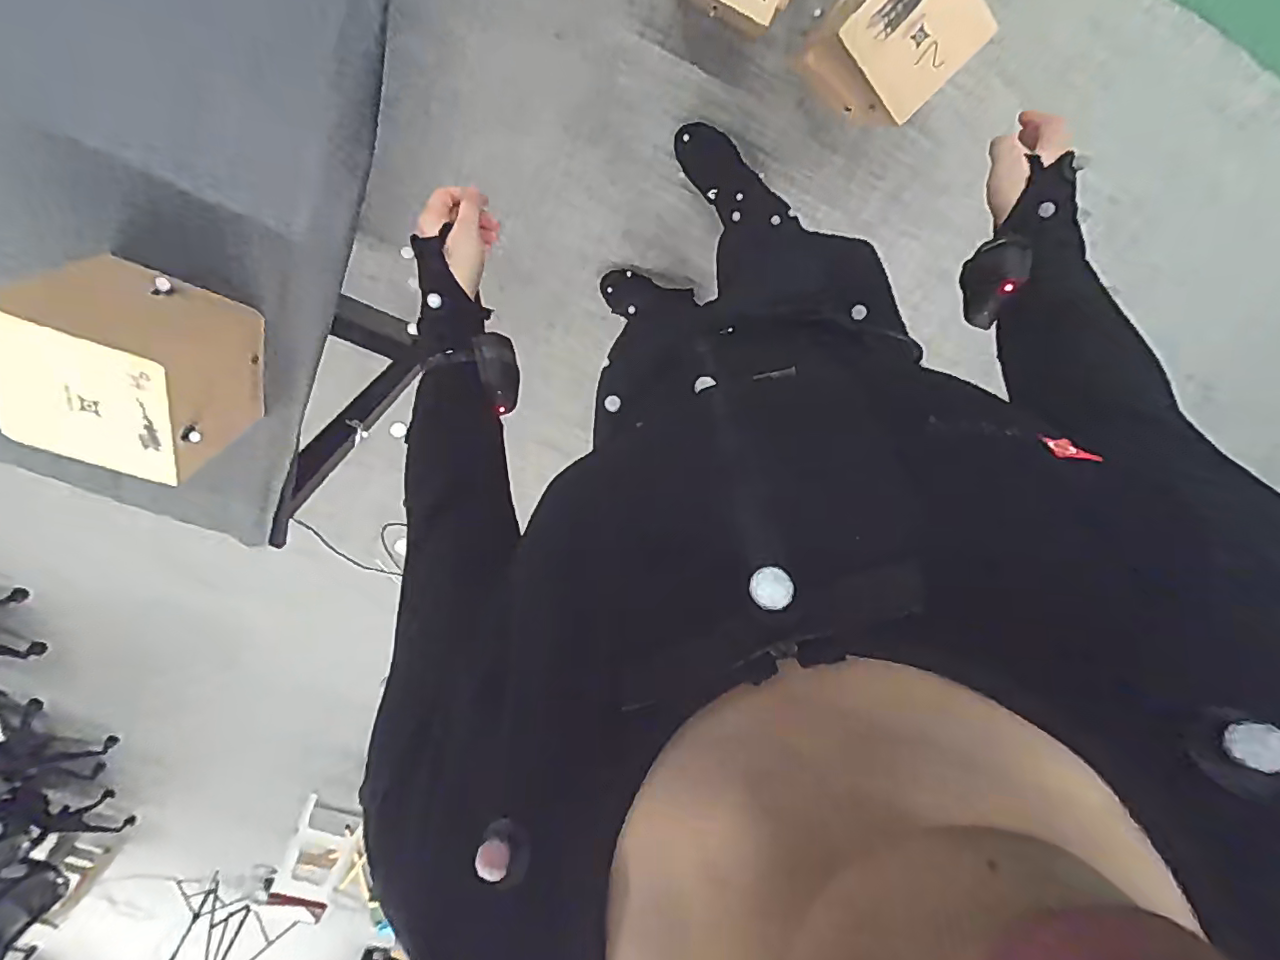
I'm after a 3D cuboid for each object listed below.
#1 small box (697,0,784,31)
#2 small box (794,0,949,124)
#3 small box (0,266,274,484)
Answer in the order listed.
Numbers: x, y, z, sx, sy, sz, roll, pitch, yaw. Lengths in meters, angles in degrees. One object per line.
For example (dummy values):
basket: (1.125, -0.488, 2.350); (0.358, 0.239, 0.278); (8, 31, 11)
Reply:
small box: (0.181, -0.907, 0.926); (0.179, 0.176, 0.168); (21, 124, -10)
small box: (0.412, -0.796, 0.992); (0.179, 0.176, 0.168); (29, 122, -17)
small box: (-0.570, -0.129, 0.630); (0.179, 0.176, 0.168); (20, 124, -11)
